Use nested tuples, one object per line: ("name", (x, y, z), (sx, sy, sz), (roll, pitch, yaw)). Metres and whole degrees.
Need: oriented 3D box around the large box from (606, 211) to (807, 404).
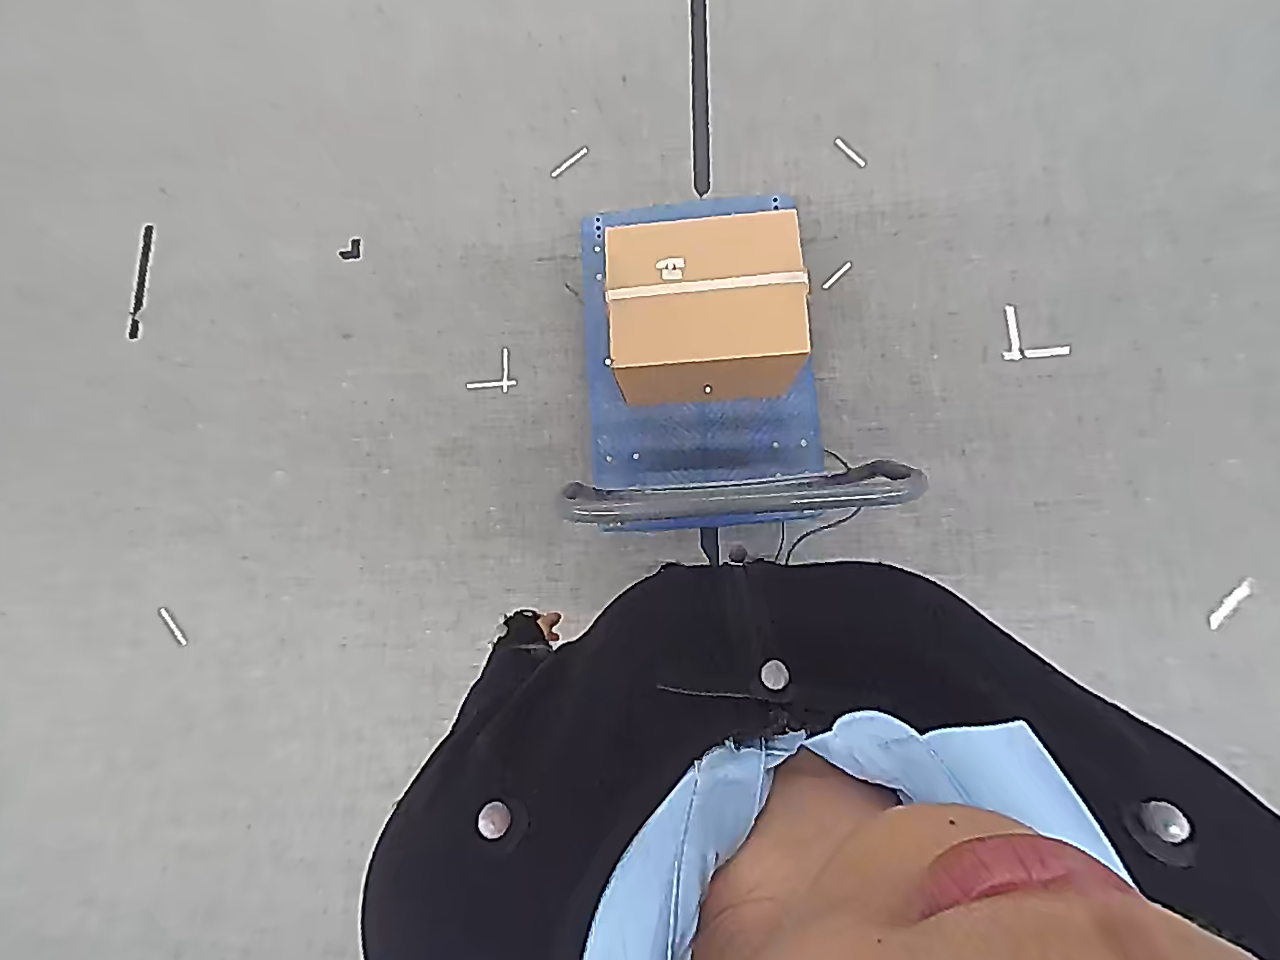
("large box", (0.150, -0.381, 1.279), (0.408, 0.320, 0.320), (-4, 81, 6))
